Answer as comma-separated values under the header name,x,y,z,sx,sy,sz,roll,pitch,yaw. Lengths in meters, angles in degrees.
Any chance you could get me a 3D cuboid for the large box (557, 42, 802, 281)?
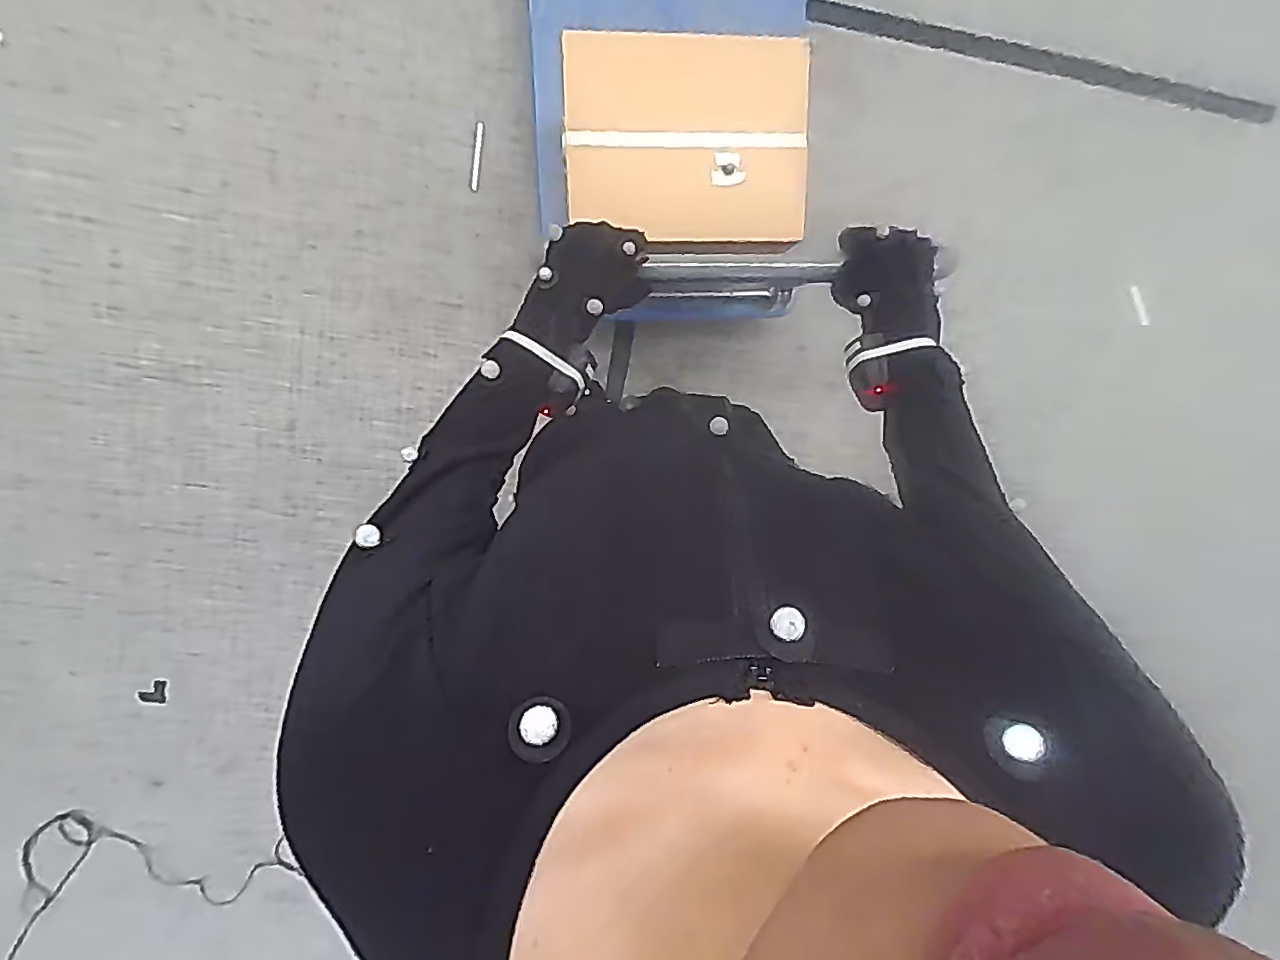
name,x,y,z,sx,sy,sz,roll,pitch,yaw
large box,0.058,-0.576,1.040,0.408,0.320,0.320,-2,102,-5
